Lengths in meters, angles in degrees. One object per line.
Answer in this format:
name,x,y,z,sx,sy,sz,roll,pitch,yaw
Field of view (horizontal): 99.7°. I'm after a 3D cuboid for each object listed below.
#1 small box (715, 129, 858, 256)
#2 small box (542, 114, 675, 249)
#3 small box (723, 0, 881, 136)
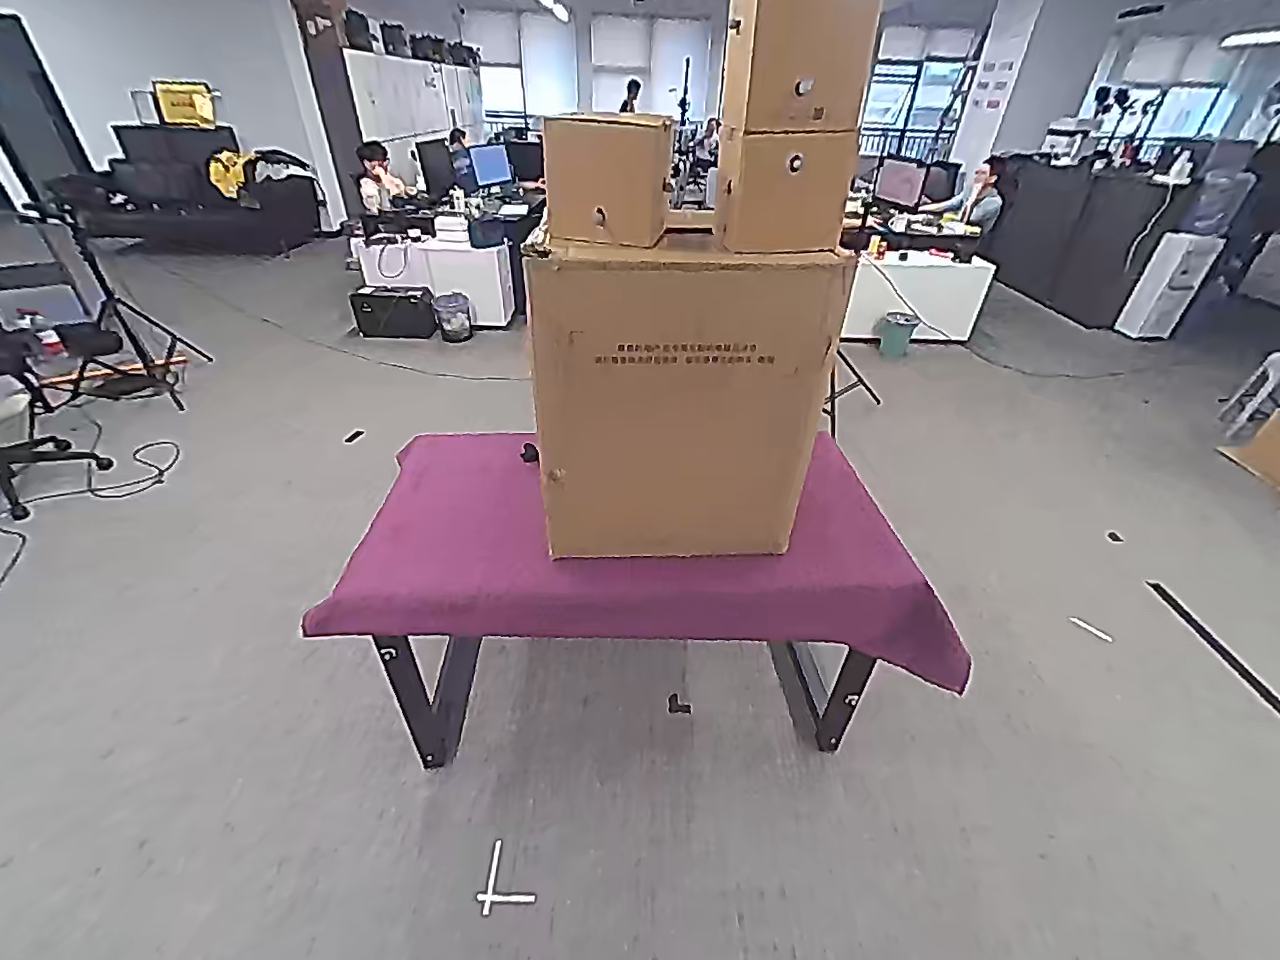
small box,0.222,-0.469,0.879,0.179,0.176,0.168,-3,36,-4
small box,-0.047,-0.490,0.890,0.179,0.176,0.168,9,38,8
small box,0.219,-0.604,0.785,0.168,0.176,0.179,-3,37,-3
